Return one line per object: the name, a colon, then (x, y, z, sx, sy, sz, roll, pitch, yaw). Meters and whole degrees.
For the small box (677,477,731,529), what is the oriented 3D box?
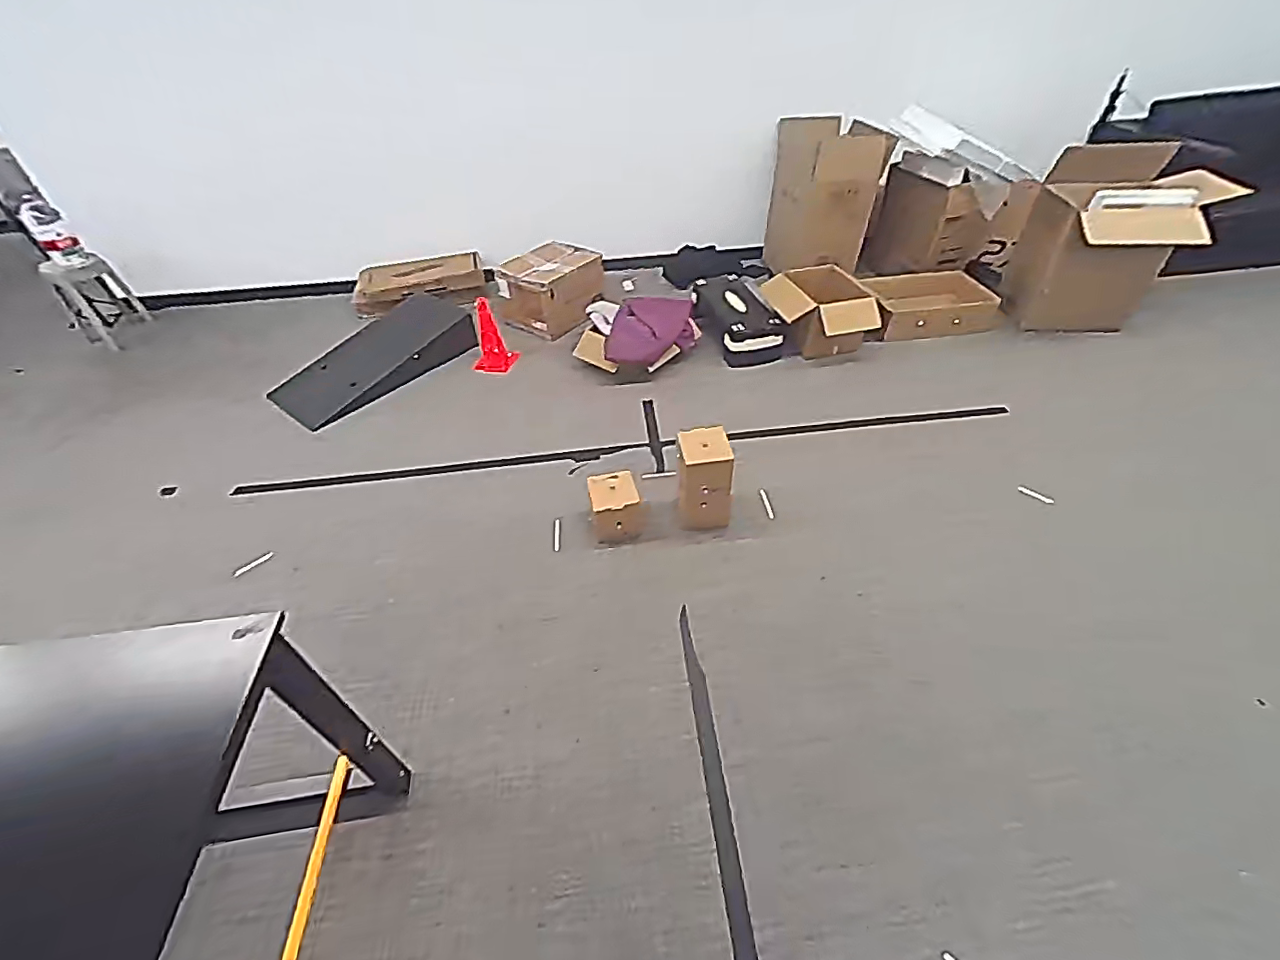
small box: (0.229, 0.068, 1.993, 0.179, 0.176, 0.168, -3, 44, -2)

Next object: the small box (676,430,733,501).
small box: (0.218, -0.050, 1.882, 0.168, 0.176, 0.179, -8, 45, -4)

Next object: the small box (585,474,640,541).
small box: (-0.098, 0.106, 1.967, 0.168, 0.176, 0.179, -11, 44, -8)
